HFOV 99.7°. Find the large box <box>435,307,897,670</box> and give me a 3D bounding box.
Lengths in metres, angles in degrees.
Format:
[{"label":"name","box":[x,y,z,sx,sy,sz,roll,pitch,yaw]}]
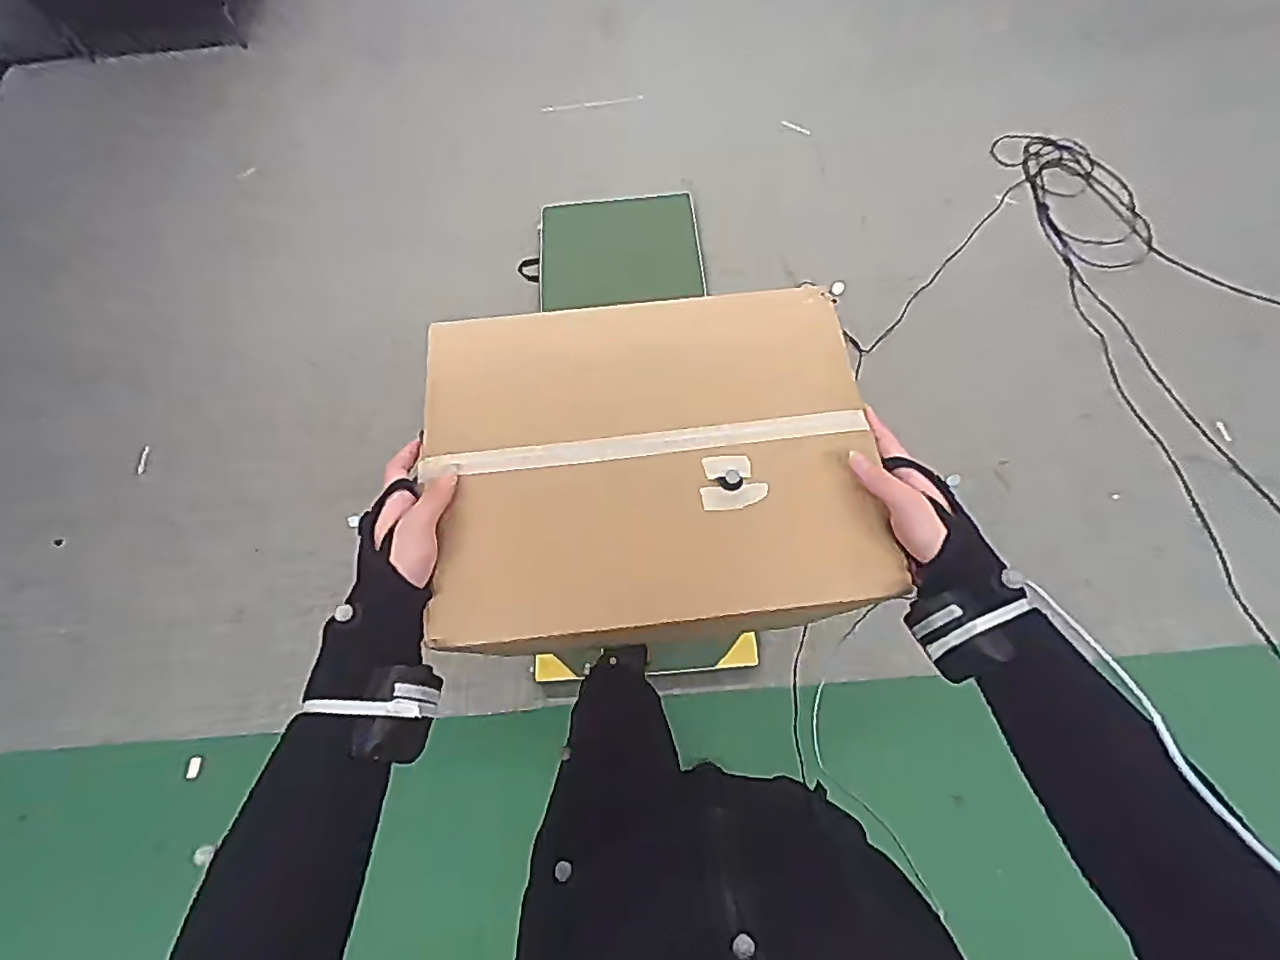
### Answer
[{"label":"large box","box":[0.006,0.036,0.645,0.408,0.320,0.320,-6,71,-2]}]
